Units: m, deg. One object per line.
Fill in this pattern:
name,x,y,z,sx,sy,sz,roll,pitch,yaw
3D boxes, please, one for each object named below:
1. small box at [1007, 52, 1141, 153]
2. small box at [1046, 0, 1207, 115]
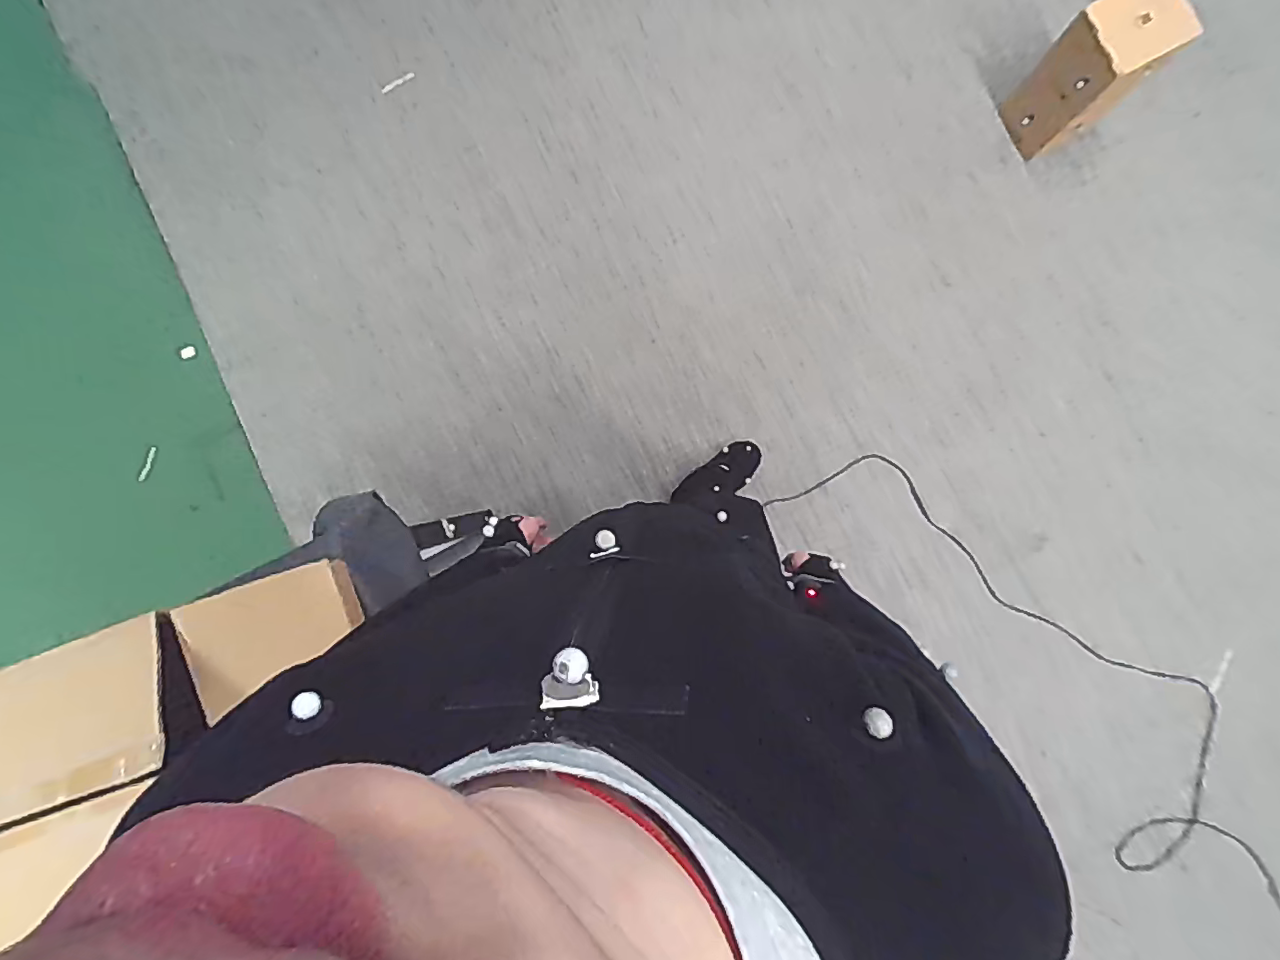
small box,1.050,-0.954,1.331,0.179,0.176,0.168,-28,90,7
small box,1.031,-0.945,1.170,0.179,0.176,0.168,-27,91,5
